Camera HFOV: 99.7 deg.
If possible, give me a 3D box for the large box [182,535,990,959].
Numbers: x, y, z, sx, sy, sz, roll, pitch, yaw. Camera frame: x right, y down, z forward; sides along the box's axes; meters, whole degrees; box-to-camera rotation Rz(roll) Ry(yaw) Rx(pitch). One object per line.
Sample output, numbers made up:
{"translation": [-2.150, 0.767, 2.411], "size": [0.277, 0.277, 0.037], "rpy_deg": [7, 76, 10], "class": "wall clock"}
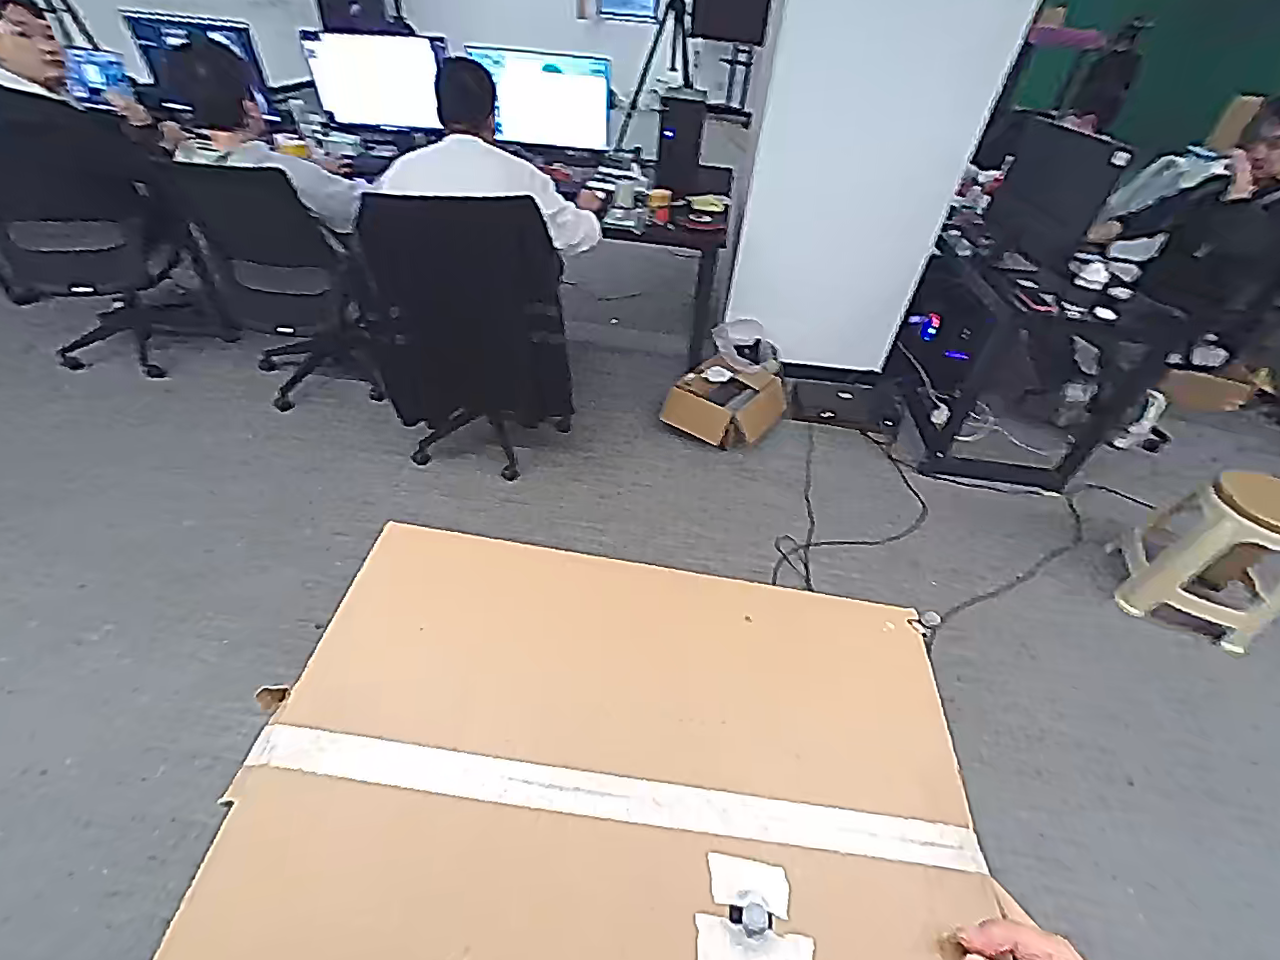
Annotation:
{"translation": [-0.027, 0.281, 0.424], "size": [0.408, 0.320, 0.320], "rpy_deg": [10, 48, -2], "class": "large box"}
